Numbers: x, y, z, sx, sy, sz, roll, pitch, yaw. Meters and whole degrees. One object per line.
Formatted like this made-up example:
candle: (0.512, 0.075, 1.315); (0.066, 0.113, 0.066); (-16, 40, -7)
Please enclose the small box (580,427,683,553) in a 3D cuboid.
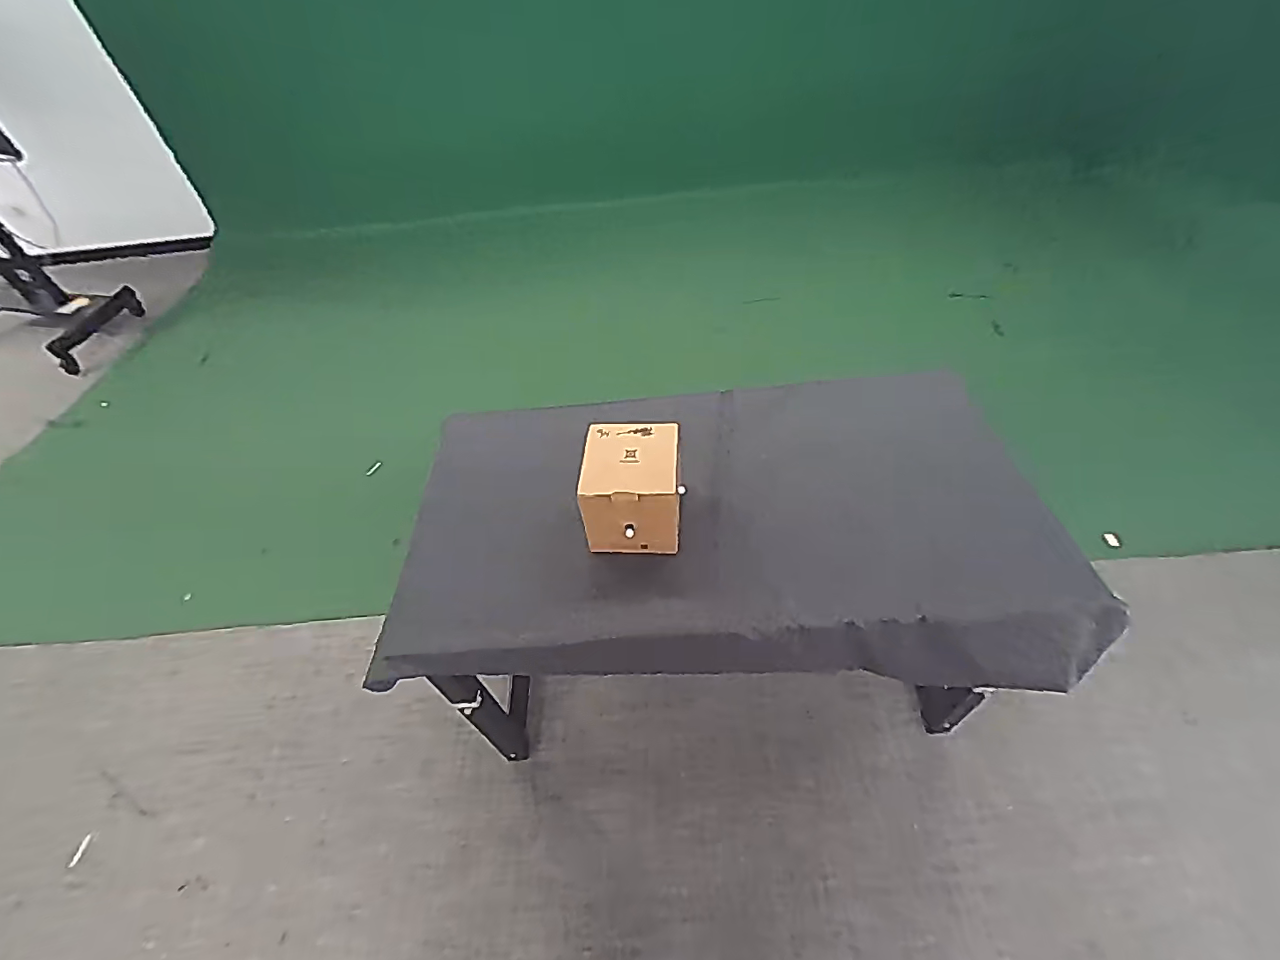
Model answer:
small box: (-0.008, 0.025, 1.004); (0.168, 0.176, 0.179); (-3, 47, 5)
